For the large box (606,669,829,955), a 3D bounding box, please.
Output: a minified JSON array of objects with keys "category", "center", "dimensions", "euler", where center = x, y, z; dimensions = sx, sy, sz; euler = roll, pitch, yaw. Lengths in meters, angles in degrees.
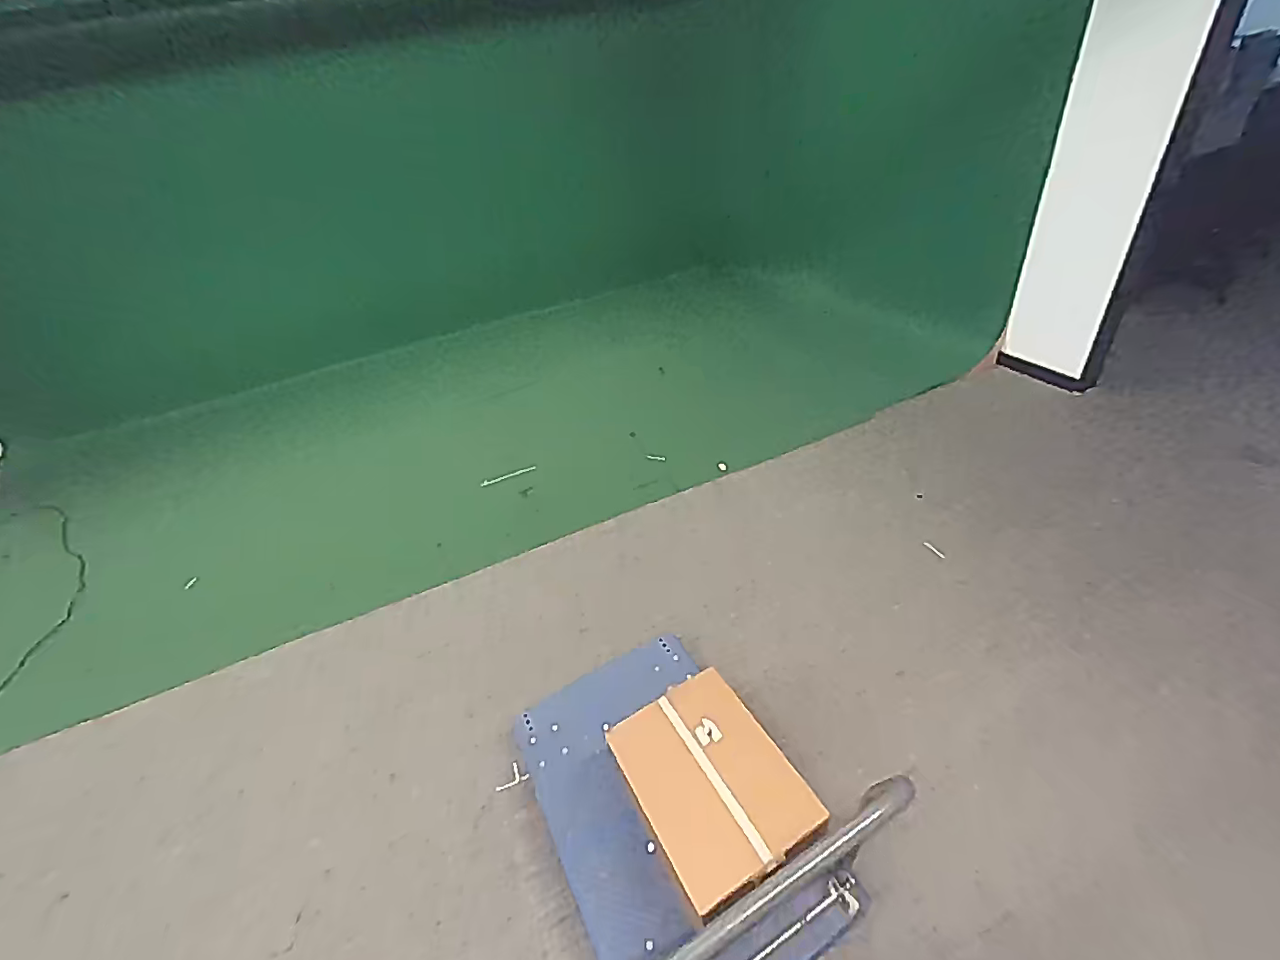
[{"category":"large box","center":[0.170,0.736,1.240],"dimensions":[0.320,0.320,0.408],"euler":[-24,38,-19]}]
